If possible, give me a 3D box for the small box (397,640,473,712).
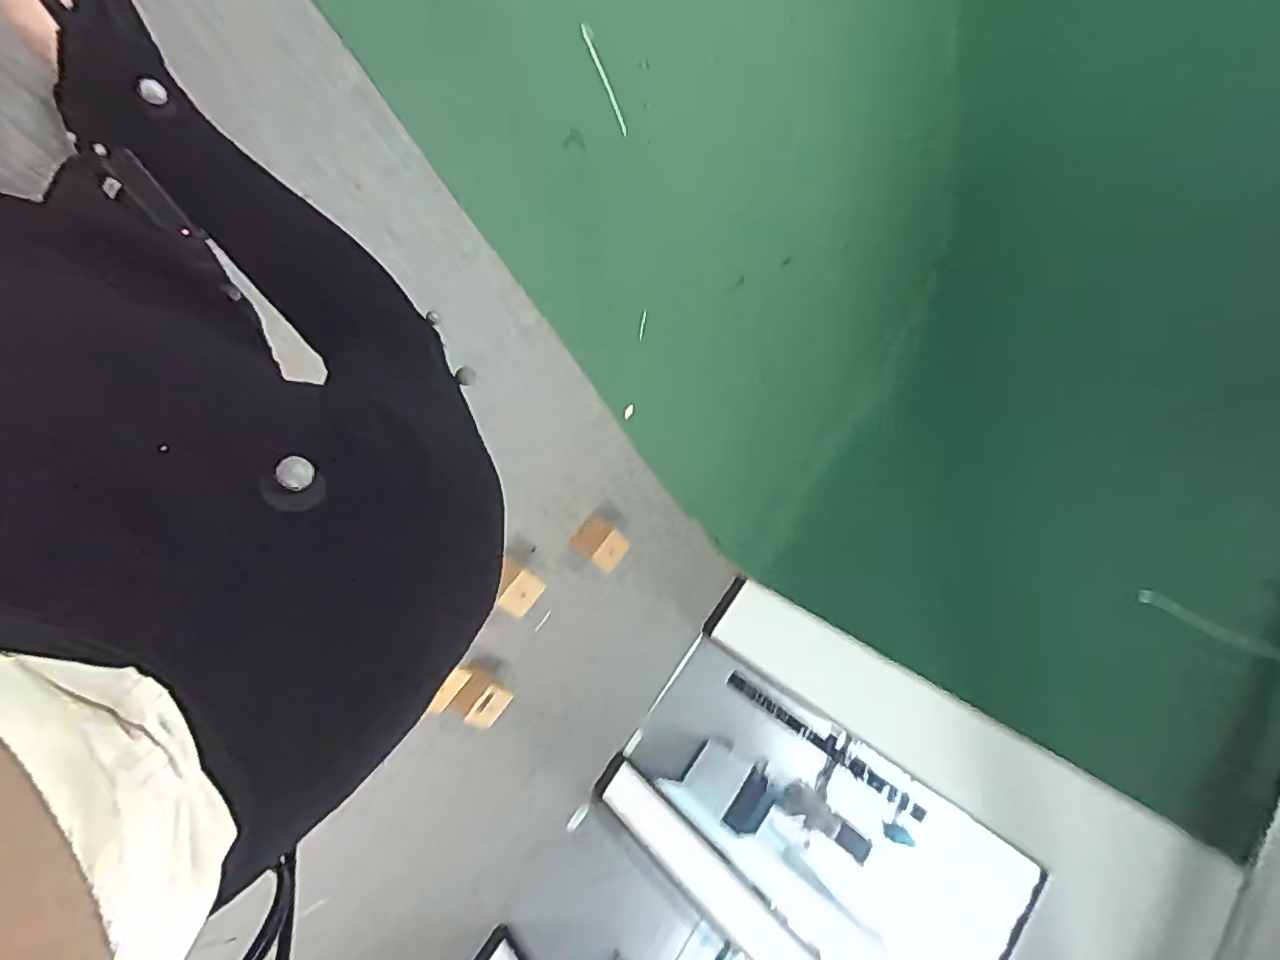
[{"bbox_3d":[-0.777,0.736,2.041,0.179,0.176,0.168,-50,140,-13],"label":"small box"}]

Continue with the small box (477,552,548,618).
[{"bbox_3d":[-0.506,0.413,2.145,0.168,0.176,0.179,-51,141,-13],"label":"small box"}]

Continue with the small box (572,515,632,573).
[{"bbox_3d":[-0.173,0.285,2.443,0.168,0.176,0.179,-51,140,-14],"label":"small box"}]
